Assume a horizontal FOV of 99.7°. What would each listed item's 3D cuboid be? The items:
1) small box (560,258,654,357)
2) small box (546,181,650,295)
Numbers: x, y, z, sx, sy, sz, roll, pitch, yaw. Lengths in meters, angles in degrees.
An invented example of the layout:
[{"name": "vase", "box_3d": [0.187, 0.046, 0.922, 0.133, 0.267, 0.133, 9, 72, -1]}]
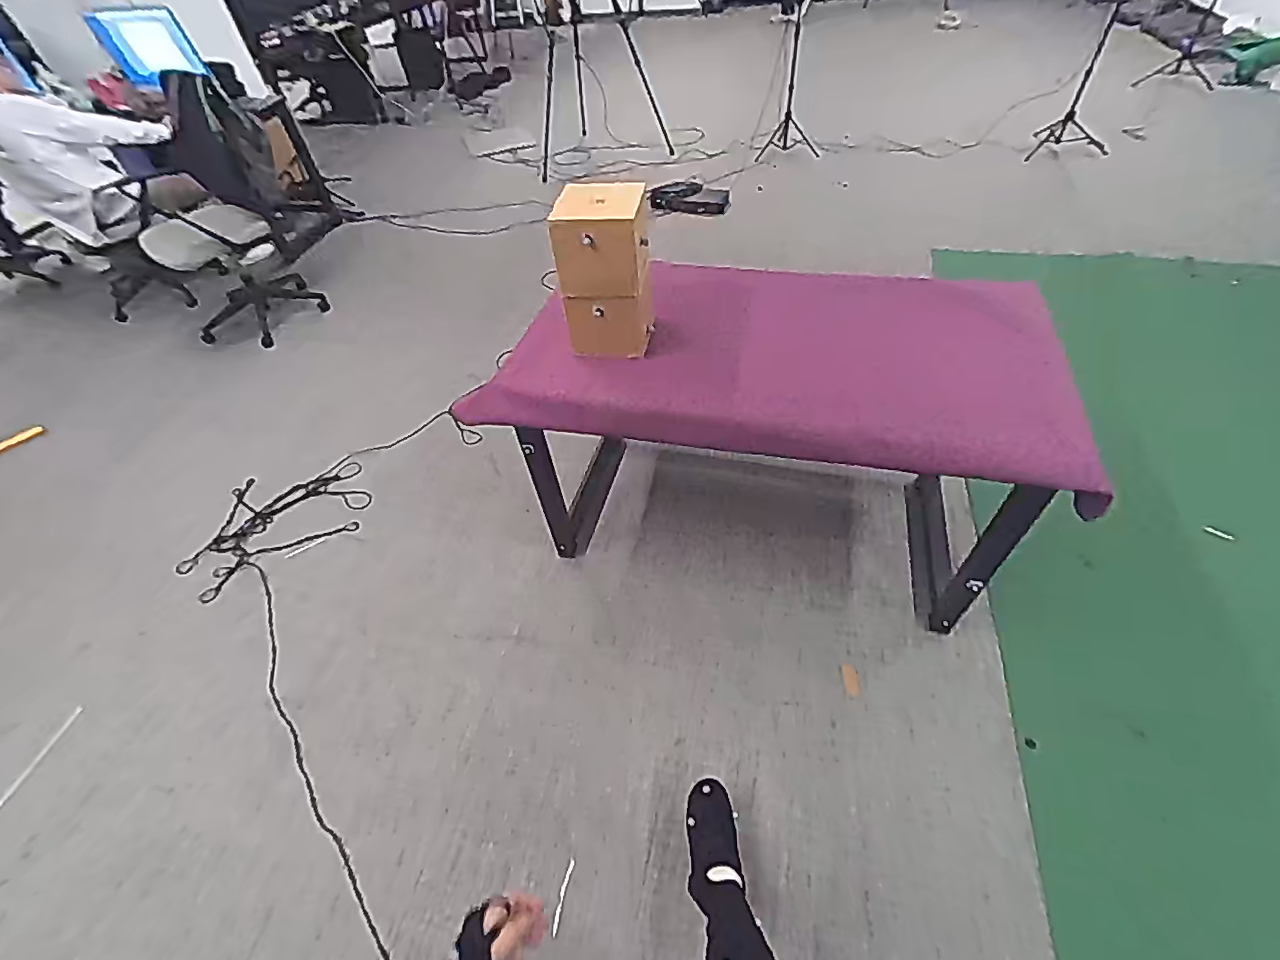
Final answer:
[{"name": "small box", "box_3d": [-0.069, -0.404, 1.261, 0.179, 0.176, 0.168, 6, 51, 10]}, {"name": "small box", "box_3d": [-0.078, -0.505, 1.136, 0.179, 0.176, 0.168, 3, 51, 9]}]
